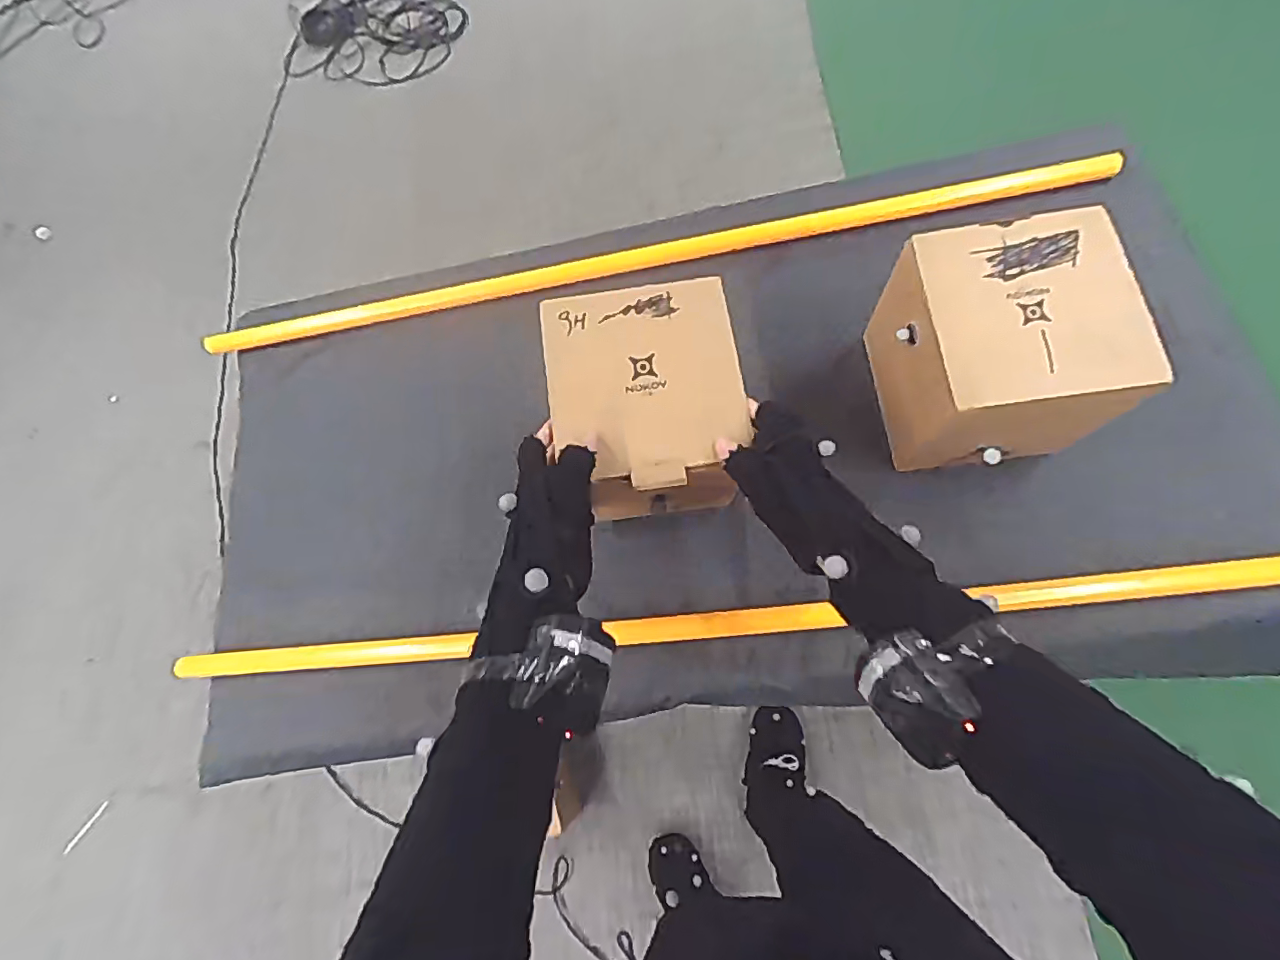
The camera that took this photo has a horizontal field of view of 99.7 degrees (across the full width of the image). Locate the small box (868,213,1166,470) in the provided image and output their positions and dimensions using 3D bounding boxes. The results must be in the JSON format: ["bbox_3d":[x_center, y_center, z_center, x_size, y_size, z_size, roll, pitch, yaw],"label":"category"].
[{"bbox_3d":[0.343,-0.124,0.539,0.168,0.176,0.179,-7,73,7],"label":"small box"}]

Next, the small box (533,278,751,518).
[{"bbox_3d":[0.003,-0.064,0.537,0.168,0.176,0.179,-11,76,0],"label":"small box"}]
